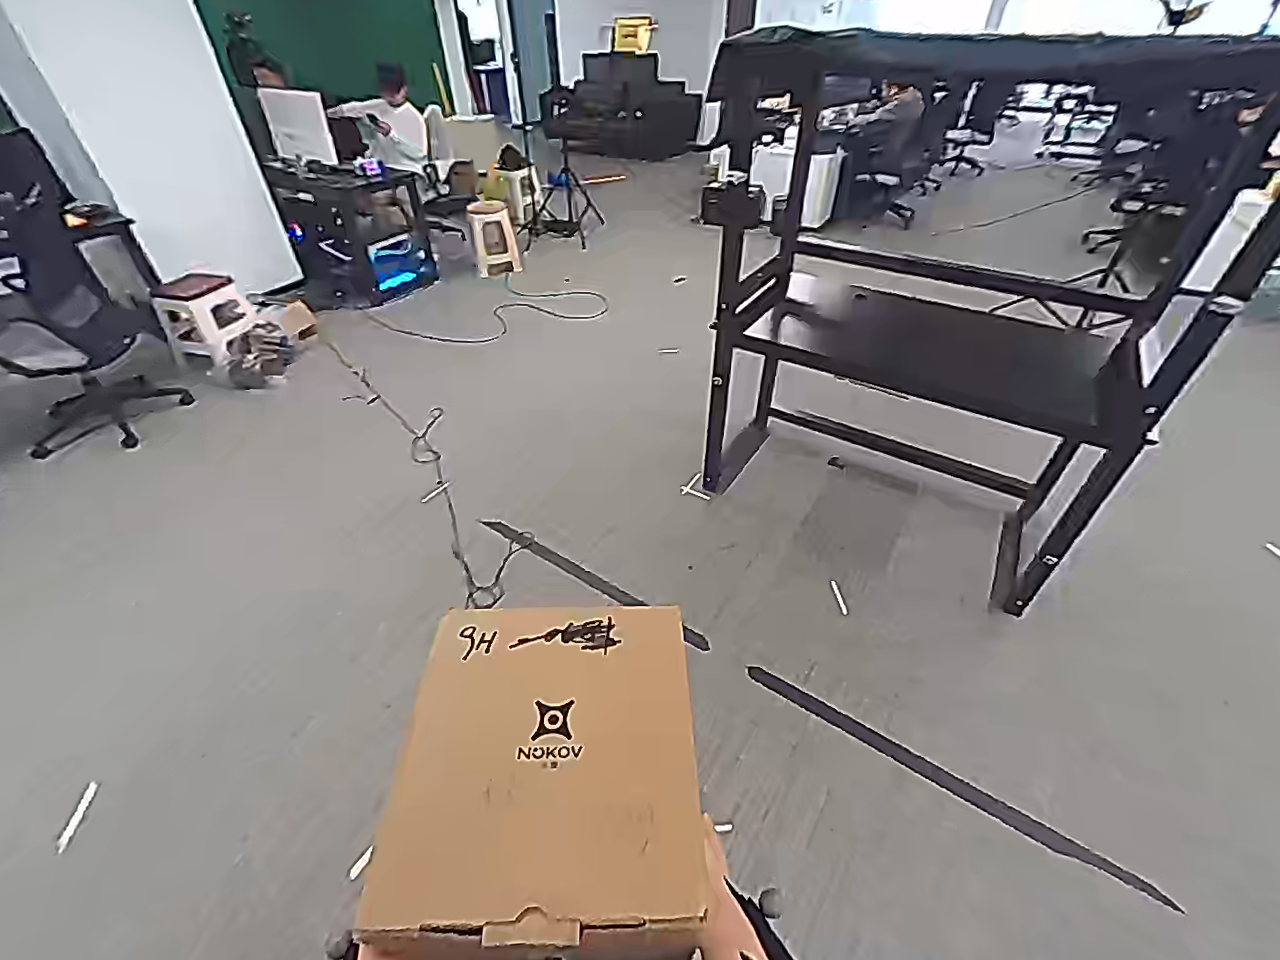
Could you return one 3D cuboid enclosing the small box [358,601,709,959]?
[{"bbox_3d":[-0.048,0.201,0.360,0.168,0.176,0.179,0,42,-1],"label":"small box"}]
